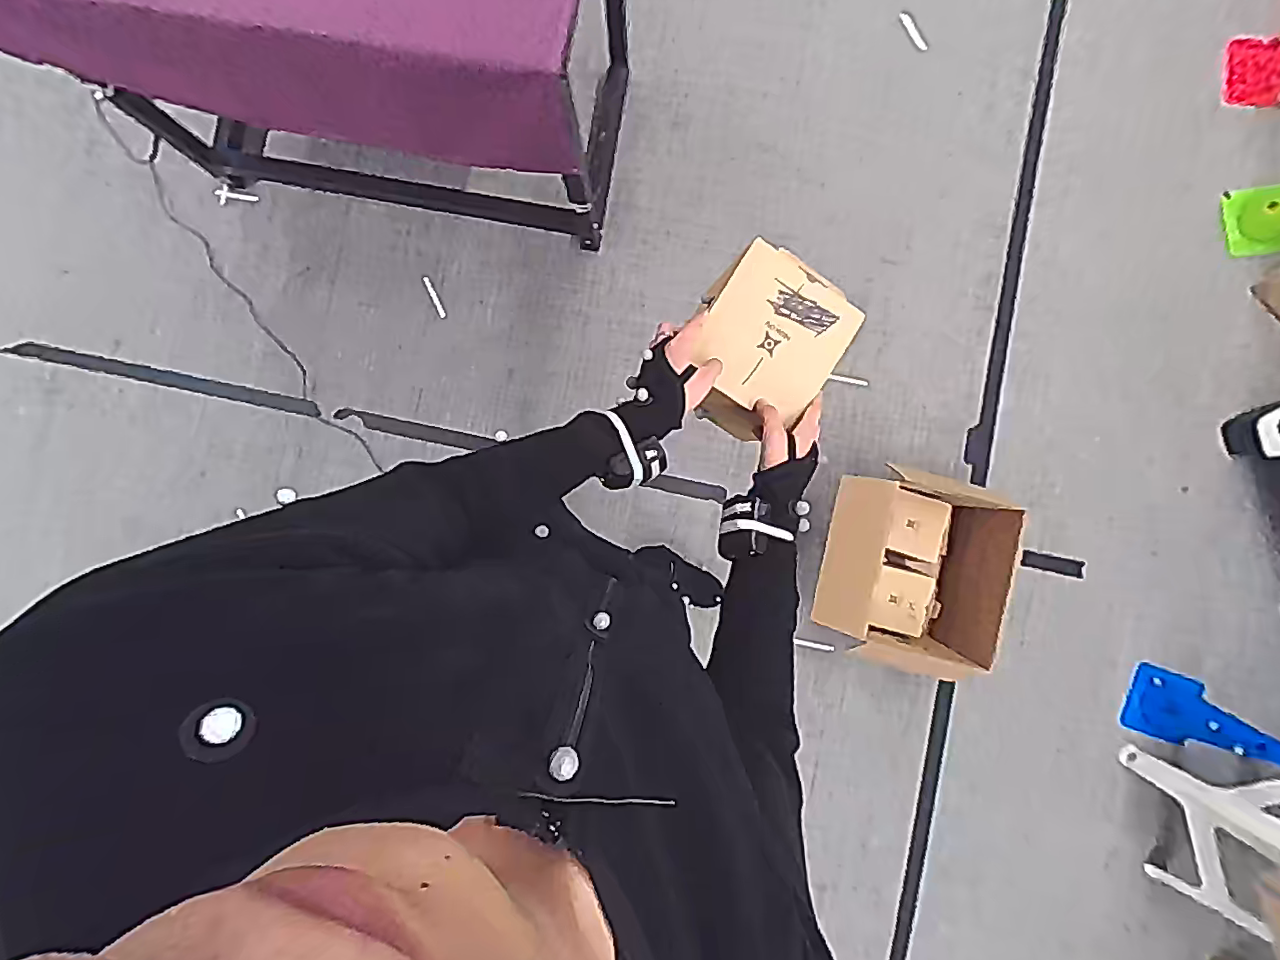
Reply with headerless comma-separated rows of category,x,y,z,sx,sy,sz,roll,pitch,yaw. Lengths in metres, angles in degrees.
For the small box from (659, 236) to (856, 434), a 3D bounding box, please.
small box,0.141,-0.178,0.723,0.168,0.176,0.179,31,87,-8
